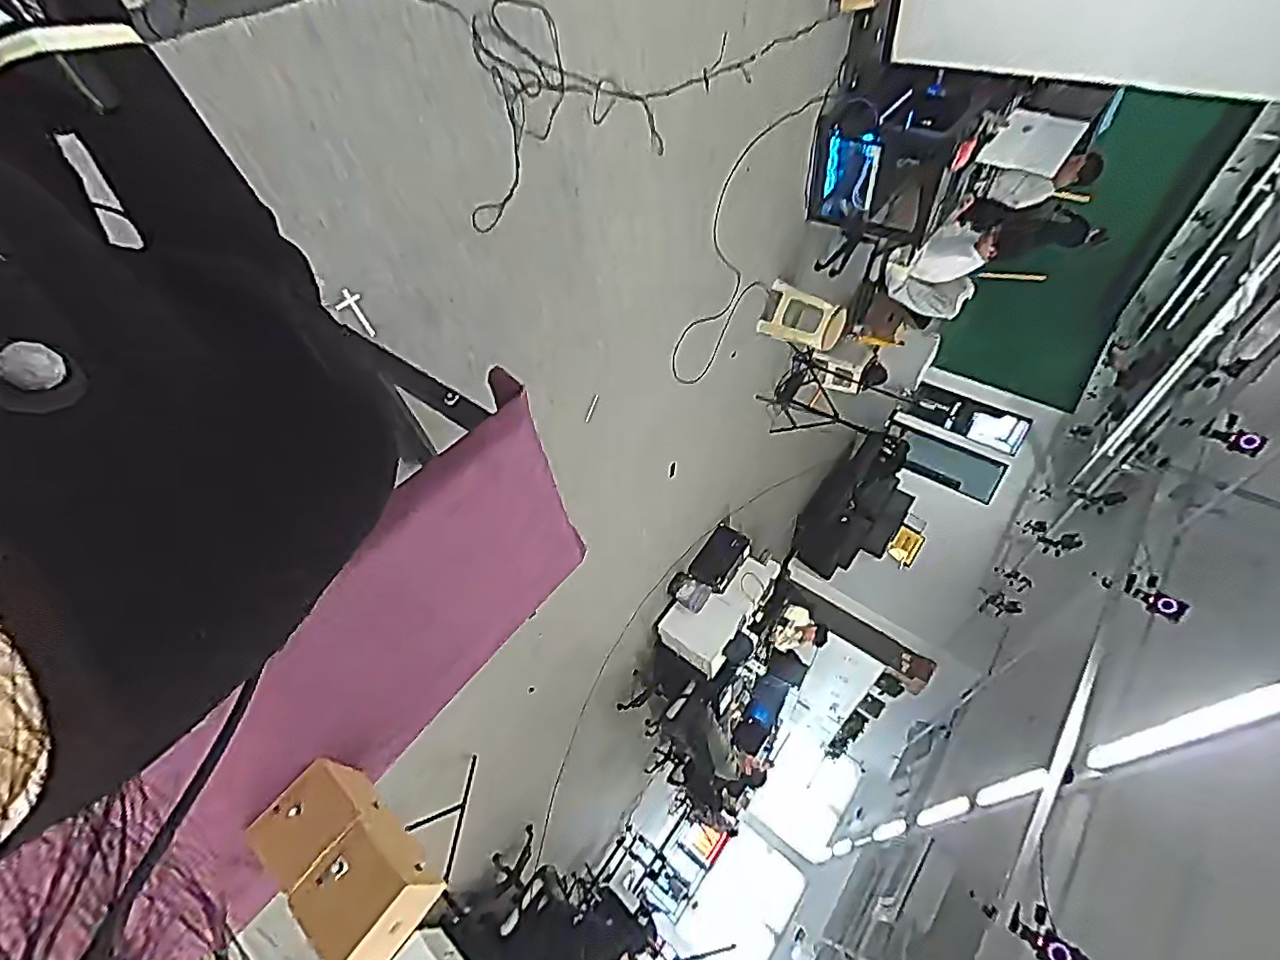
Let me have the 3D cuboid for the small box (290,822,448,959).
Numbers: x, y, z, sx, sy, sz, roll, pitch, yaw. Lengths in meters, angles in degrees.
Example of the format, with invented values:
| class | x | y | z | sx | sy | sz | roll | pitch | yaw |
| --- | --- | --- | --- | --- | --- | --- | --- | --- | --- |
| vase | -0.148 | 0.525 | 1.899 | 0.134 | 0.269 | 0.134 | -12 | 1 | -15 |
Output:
| class | x | y | z | sx | sy | sz | roll | pitch | yaw |
| --- | --- | --- | --- | --- | --- | --- | --- | --- | --- |
| small box | -0.513 | 0.789 | 1.034 | 0.168 | 0.176 | 0.179 | -49 | 150 | -24 |

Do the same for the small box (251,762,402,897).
| class | x | y | z | sx | sy | sz | roll | pitch | yaw |
| --- | --- | --- | --- | --- | --- | --- | --- | --- | --- |
| small box | -0.636 | 0.712 | 1.106 | 0.168 | 0.176 | 0.179 | -47 | 149 | -26 |
